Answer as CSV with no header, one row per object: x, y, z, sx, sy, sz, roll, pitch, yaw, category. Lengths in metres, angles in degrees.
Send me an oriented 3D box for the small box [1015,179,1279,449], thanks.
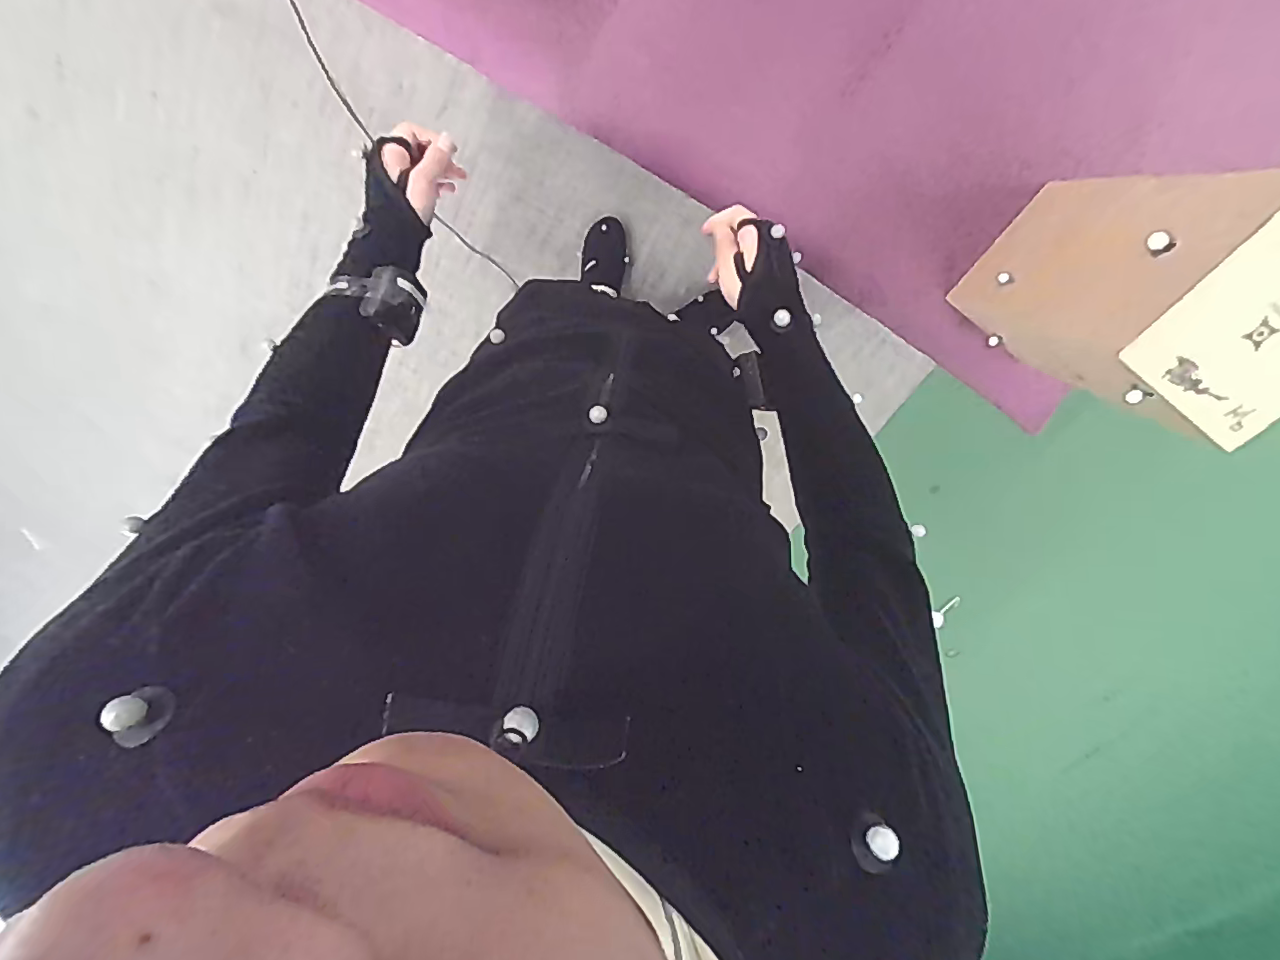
0.528,-0.167,0.527,0.168,0.176,0.179,32,113,-12,small box
